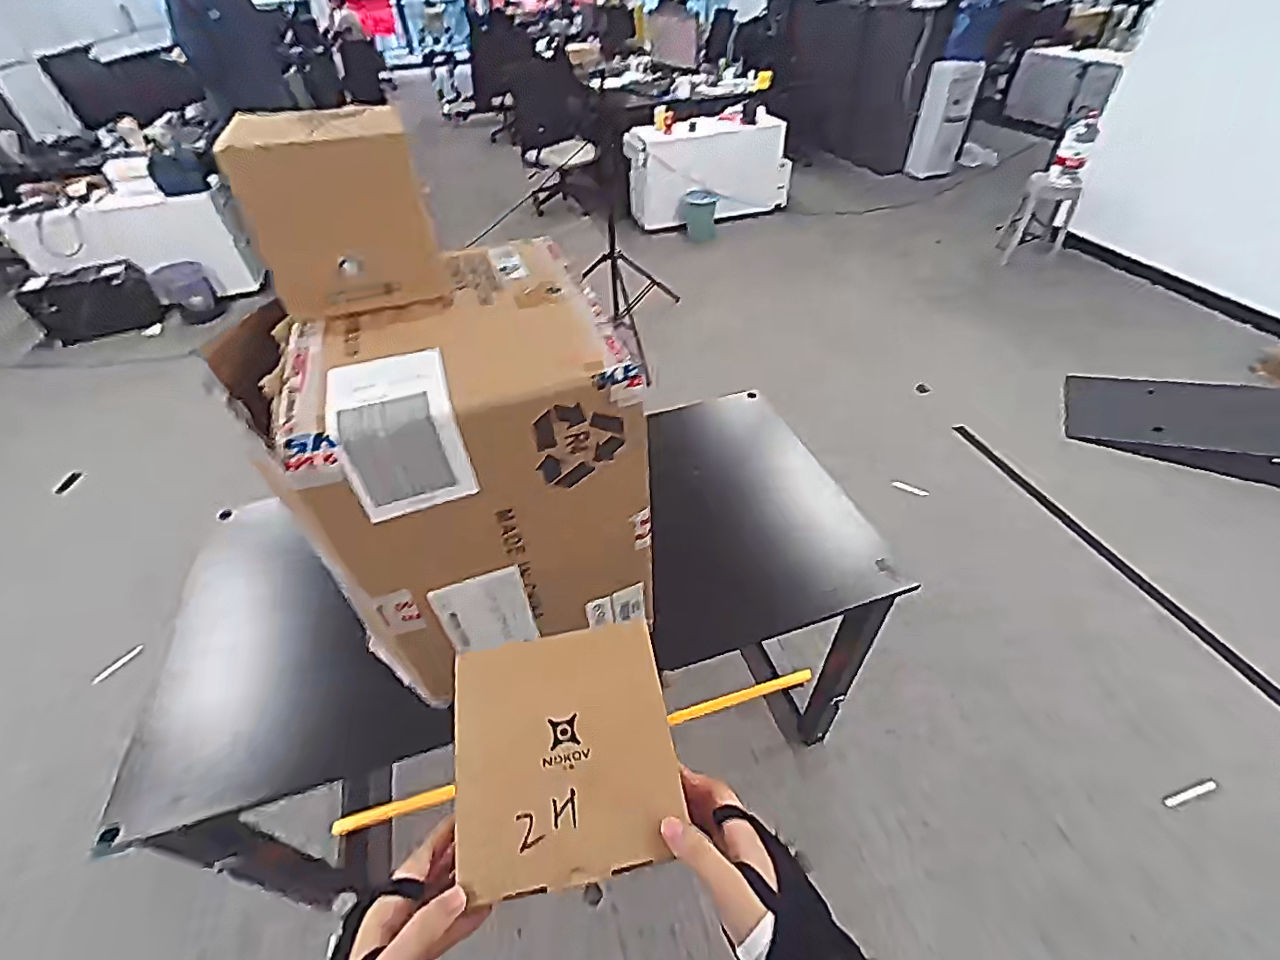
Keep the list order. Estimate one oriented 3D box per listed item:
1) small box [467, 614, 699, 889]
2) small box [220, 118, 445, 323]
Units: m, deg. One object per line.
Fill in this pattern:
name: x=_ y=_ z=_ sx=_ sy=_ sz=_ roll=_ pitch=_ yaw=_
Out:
small box: x=-0.051 y=0.247 z=0.488 sx=0.168 sy=0.176 sz=0.179 roll=-10 pitch=54 yaw=-5
small box: x=-0.336 y=-0.301 z=0.622 sx=0.168 sy=0.176 sz=0.179 roll=-17 pitch=44 yaw=-16
